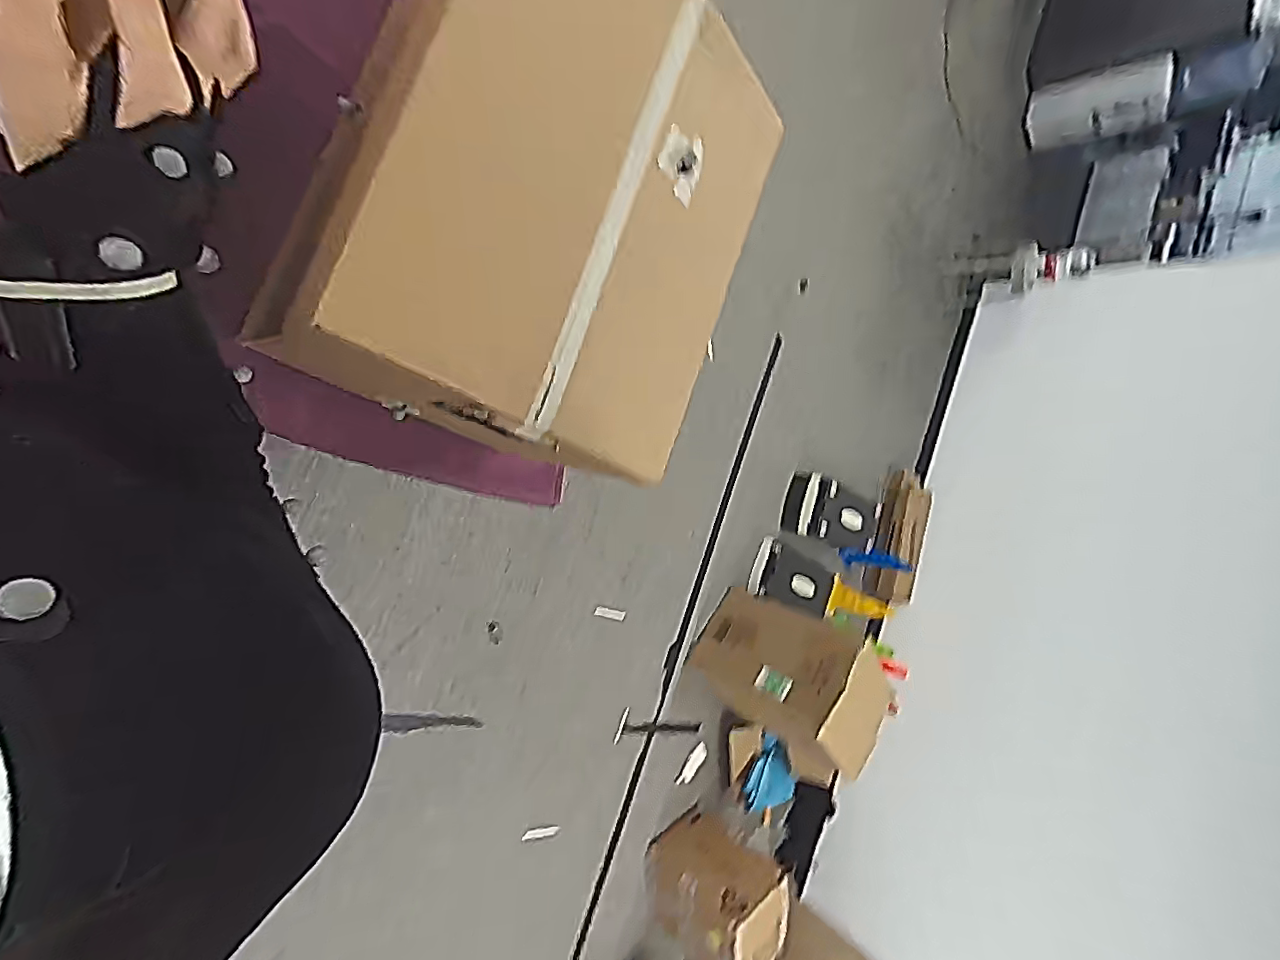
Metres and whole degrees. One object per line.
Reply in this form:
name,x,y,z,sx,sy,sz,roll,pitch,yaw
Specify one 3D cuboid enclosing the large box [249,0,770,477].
large box,-0.125,-0.250,0.543,0.320,0.320,0.408,25,80,-45
